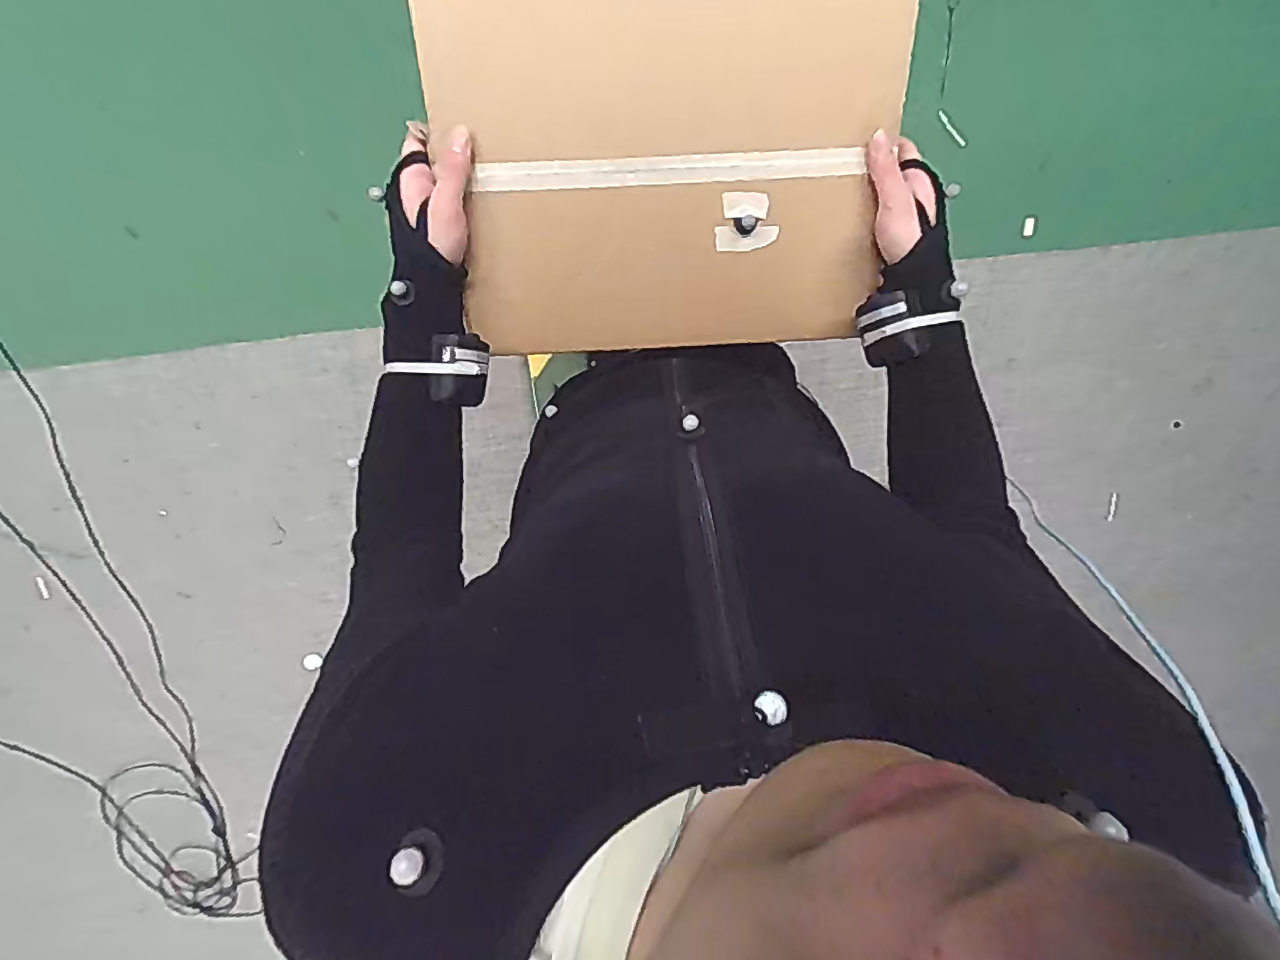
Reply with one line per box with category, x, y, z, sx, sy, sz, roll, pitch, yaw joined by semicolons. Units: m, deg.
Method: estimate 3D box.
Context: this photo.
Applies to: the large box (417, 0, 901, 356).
large box;0.014;-0.341;0.625;0.408;0.320;0.320;-4;116;-3
